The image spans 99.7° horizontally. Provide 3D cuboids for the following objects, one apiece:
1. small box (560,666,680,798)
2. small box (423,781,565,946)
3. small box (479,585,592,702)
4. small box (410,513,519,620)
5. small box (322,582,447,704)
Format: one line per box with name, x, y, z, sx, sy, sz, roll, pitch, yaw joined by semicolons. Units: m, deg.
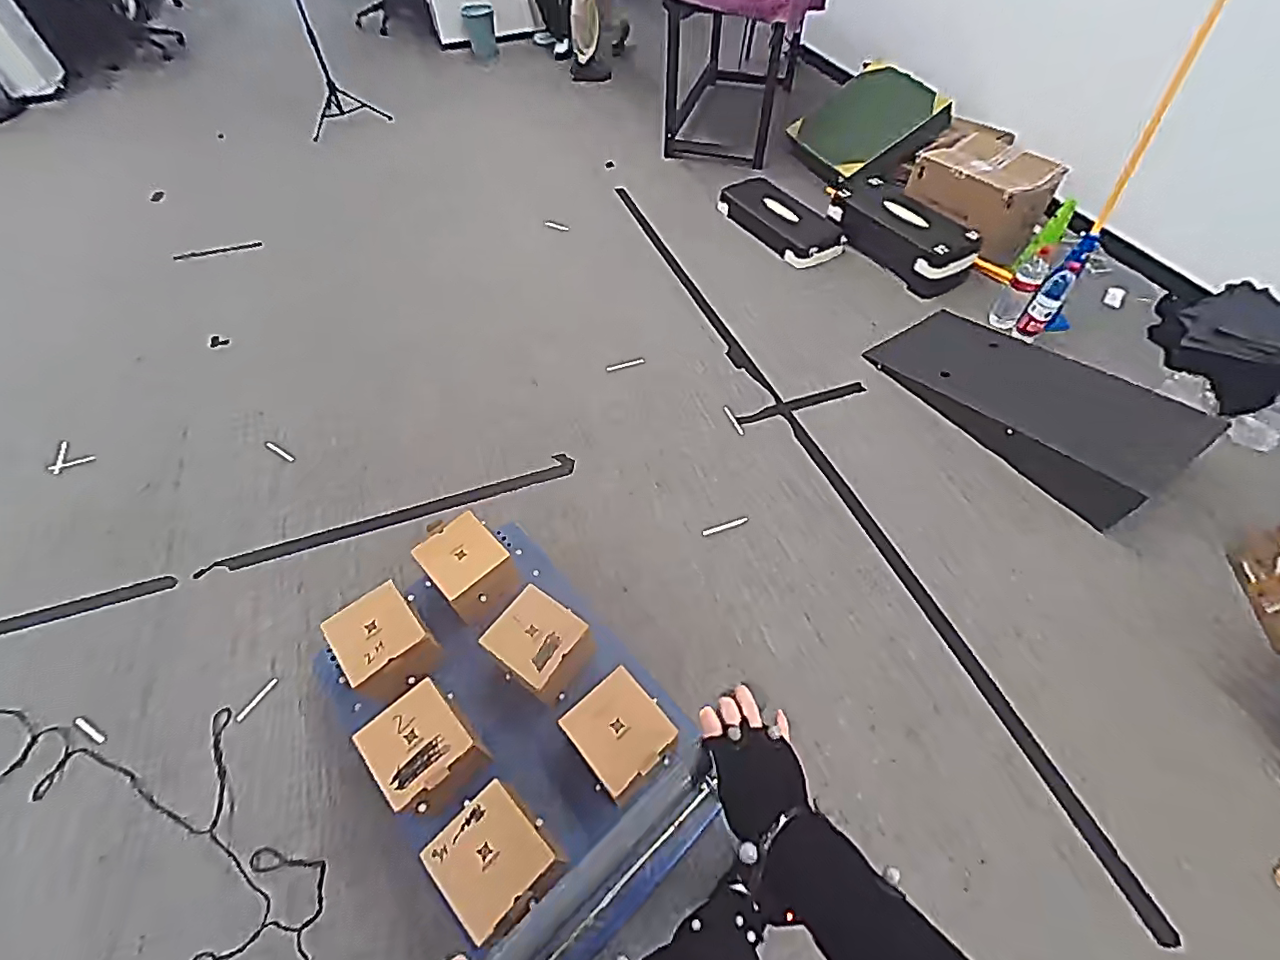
small box;-0.038;0.520;1.105;0.168;0.176;0.179;-36;61;-23
small box;-0.254;0.687;0.985;0.179;0.176;0.168;38;62;23
small box;-0.222;0.372;1.209;0.179;0.176;0.168;30;60;20
small box;-0.419;0.219;1.319;0.179;0.176;0.168;39;63;24
small box;-0.565;0.369;1.211;0.168;0.176;0.179;-35;63;-22
